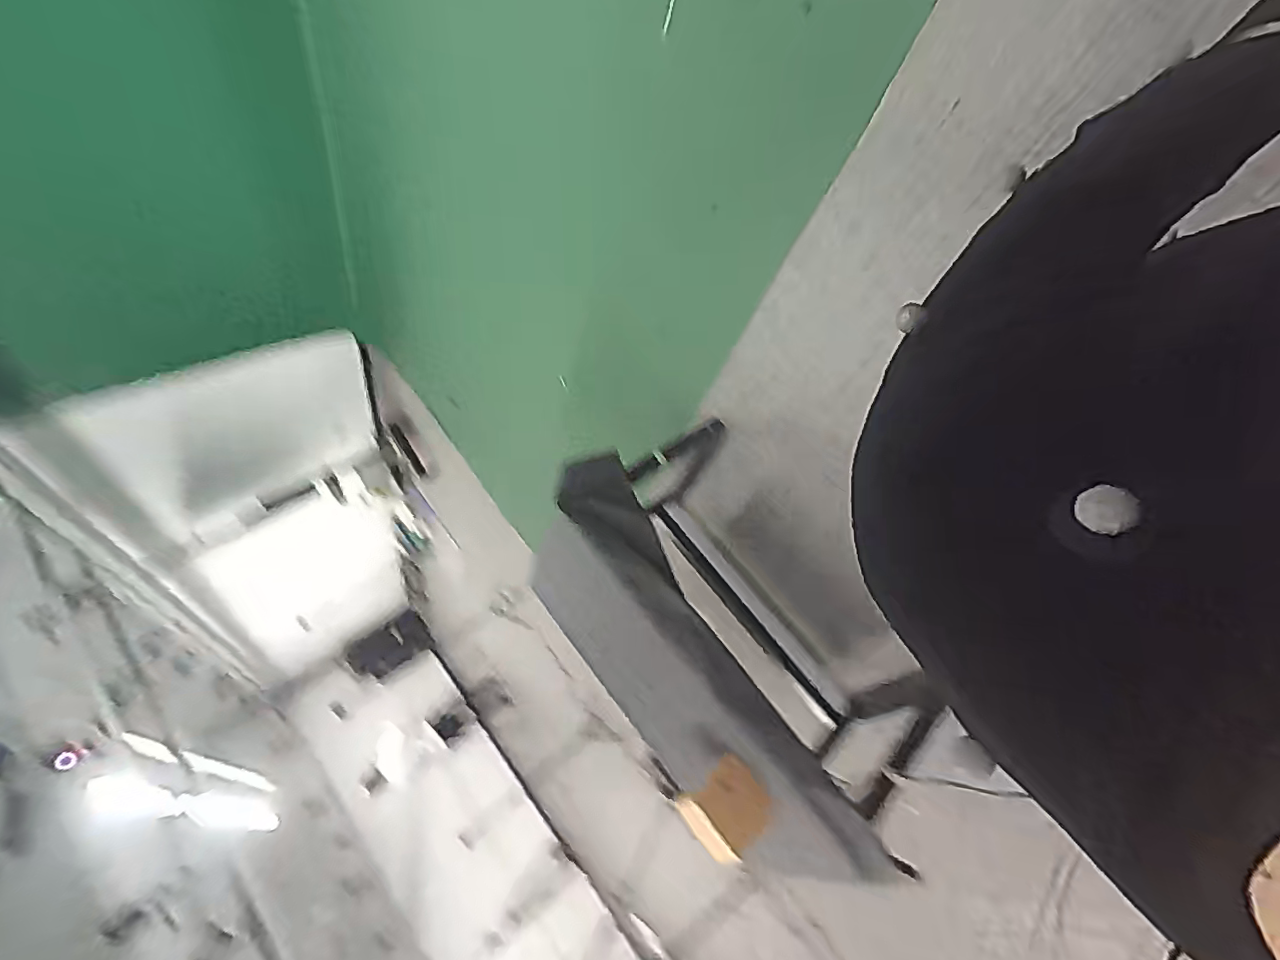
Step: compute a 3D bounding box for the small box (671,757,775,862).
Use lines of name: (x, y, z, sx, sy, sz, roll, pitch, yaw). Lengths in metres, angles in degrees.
small box: (0.216, 0.855, 1.417, 0.179, 0.176, 0.168, 47, 146, 18)
